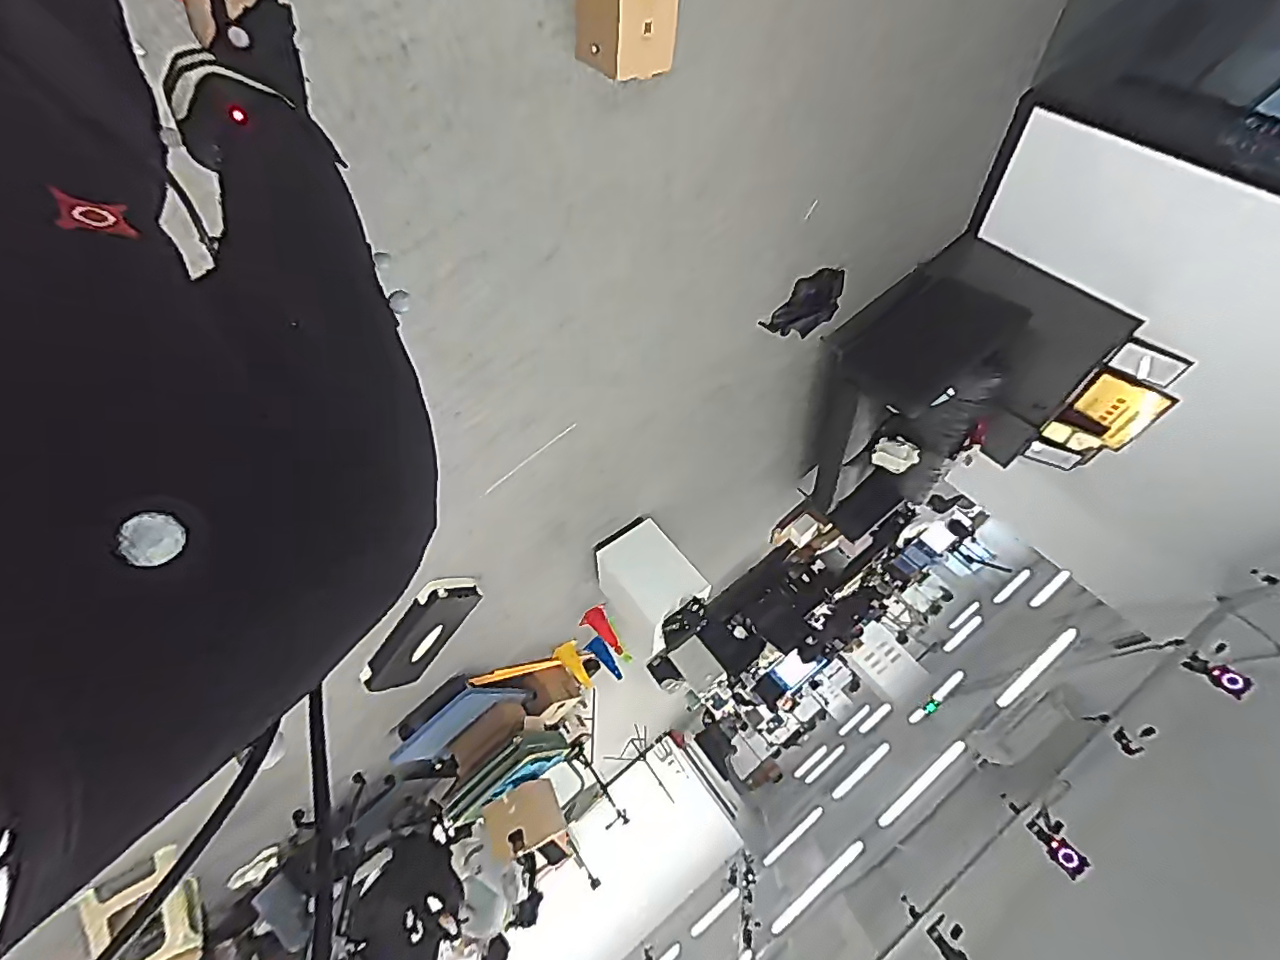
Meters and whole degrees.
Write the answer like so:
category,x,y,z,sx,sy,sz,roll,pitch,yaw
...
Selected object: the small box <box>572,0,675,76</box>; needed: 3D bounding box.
category,x,y,z,sx,sy,sz,roll,pitch,yaw
small box,-0.042,-1.046,1.212,0.168,0.176,0.179,-31,151,-25
